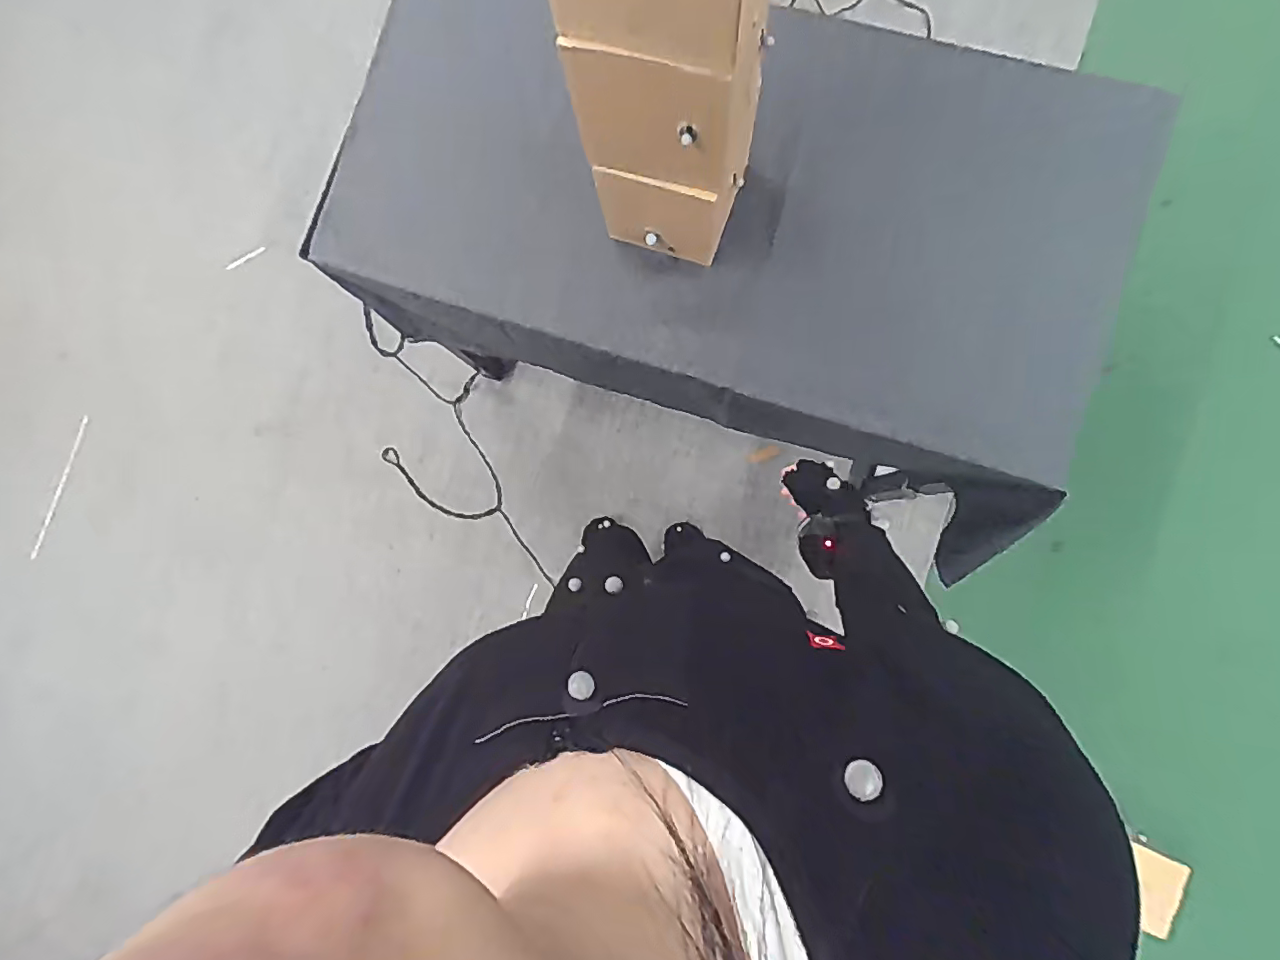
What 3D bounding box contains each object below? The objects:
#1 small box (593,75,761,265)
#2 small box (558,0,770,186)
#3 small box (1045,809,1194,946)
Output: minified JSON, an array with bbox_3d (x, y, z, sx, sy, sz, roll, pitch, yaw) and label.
[{"bbox_3d":[0.051,-0.432,0.742,0.168,0.176,0.179,19,87,7],"label":"small box"},{"bbox_3d":[0.034,-0.453,0.582,0.179,0.176,0.168,17,85,6],"label":"small box"},{"bbox_3d":[1.098,0.905,1.256,0.179,0.176,0.168,24,86,6],"label":"small box"}]
